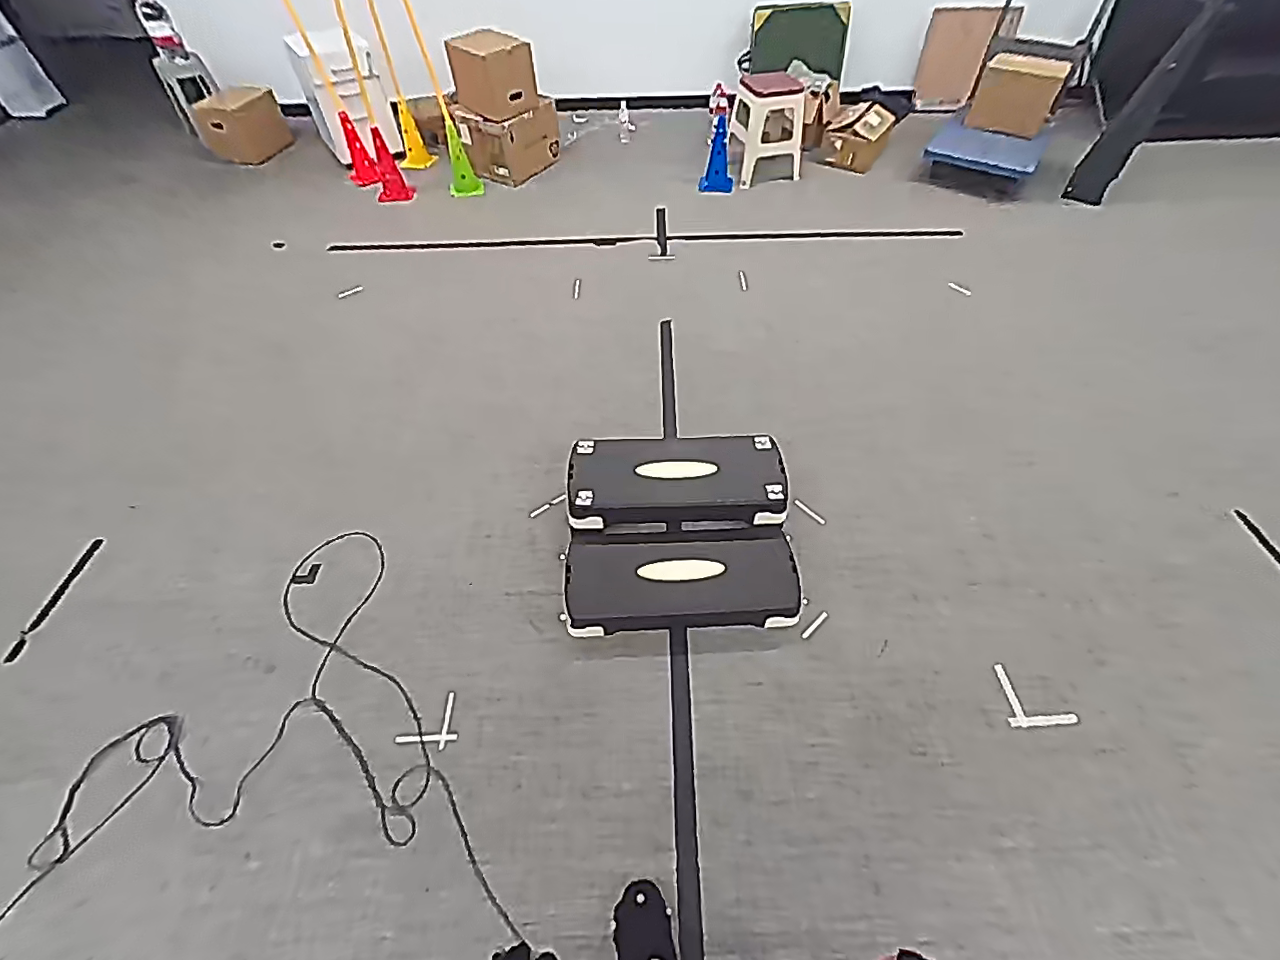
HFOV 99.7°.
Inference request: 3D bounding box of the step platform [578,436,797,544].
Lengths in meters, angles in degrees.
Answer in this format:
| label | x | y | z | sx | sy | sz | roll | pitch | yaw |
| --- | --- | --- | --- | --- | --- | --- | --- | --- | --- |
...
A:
| label | x | y | z | sx | sy | sz | roll | pitch | yaw |
| --- | --- | --- | --- | --- | --- | --- | --- | --- | --- |
| step platform | 0.144 | 0.024 | 1.725 | 0.684 | 0.204 | 0.286 | -2 | 52 | -2 |
